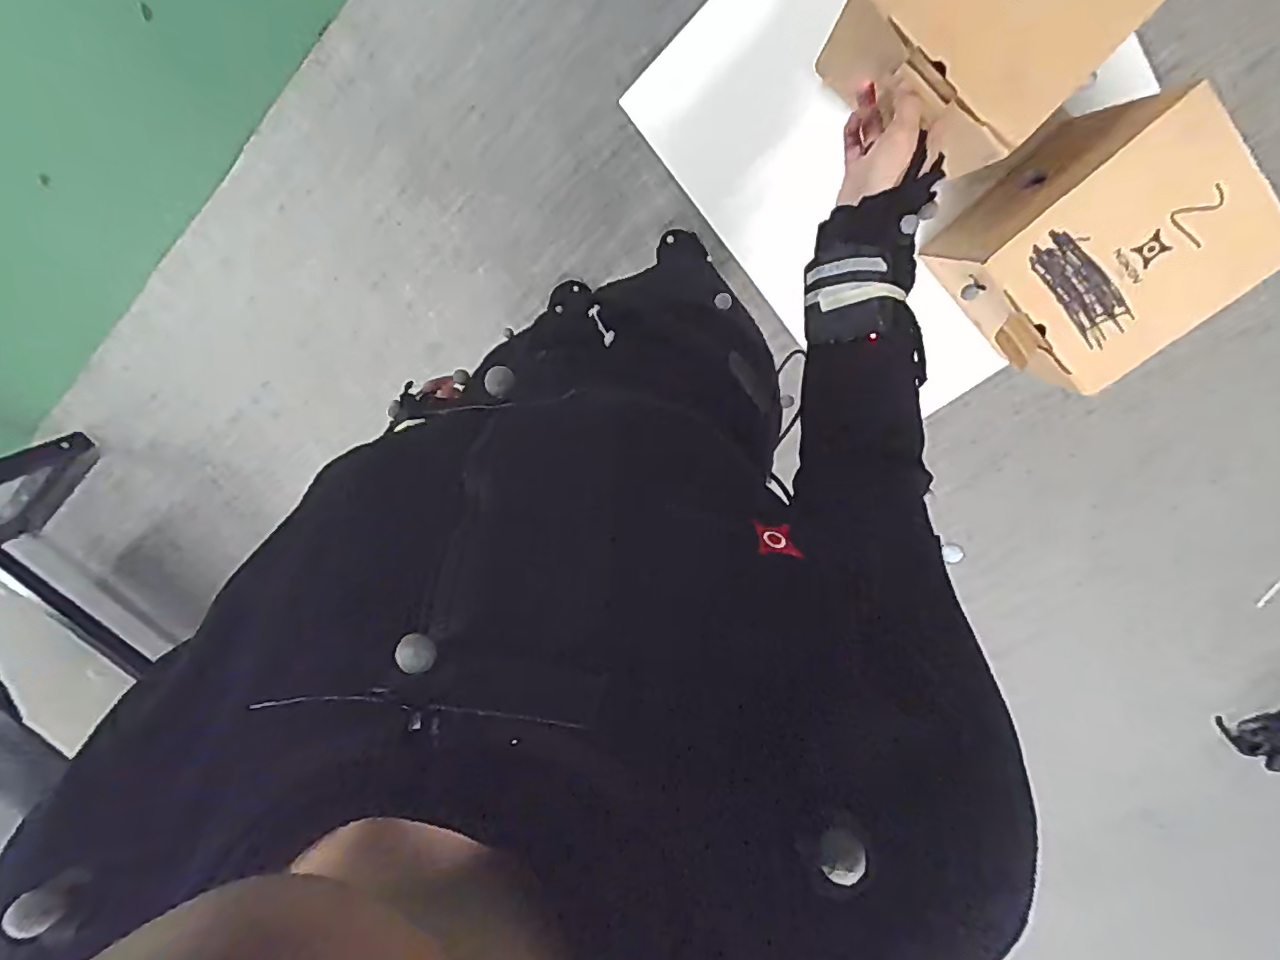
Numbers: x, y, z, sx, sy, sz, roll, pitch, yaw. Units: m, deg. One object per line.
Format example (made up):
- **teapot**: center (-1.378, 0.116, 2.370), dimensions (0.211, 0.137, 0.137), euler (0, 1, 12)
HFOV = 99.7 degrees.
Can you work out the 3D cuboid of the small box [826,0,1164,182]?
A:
- **small box**: center (0.273, -0.375, 0.433), dimensions (0.168, 0.176, 0.179), euler (40, 109, -10)
